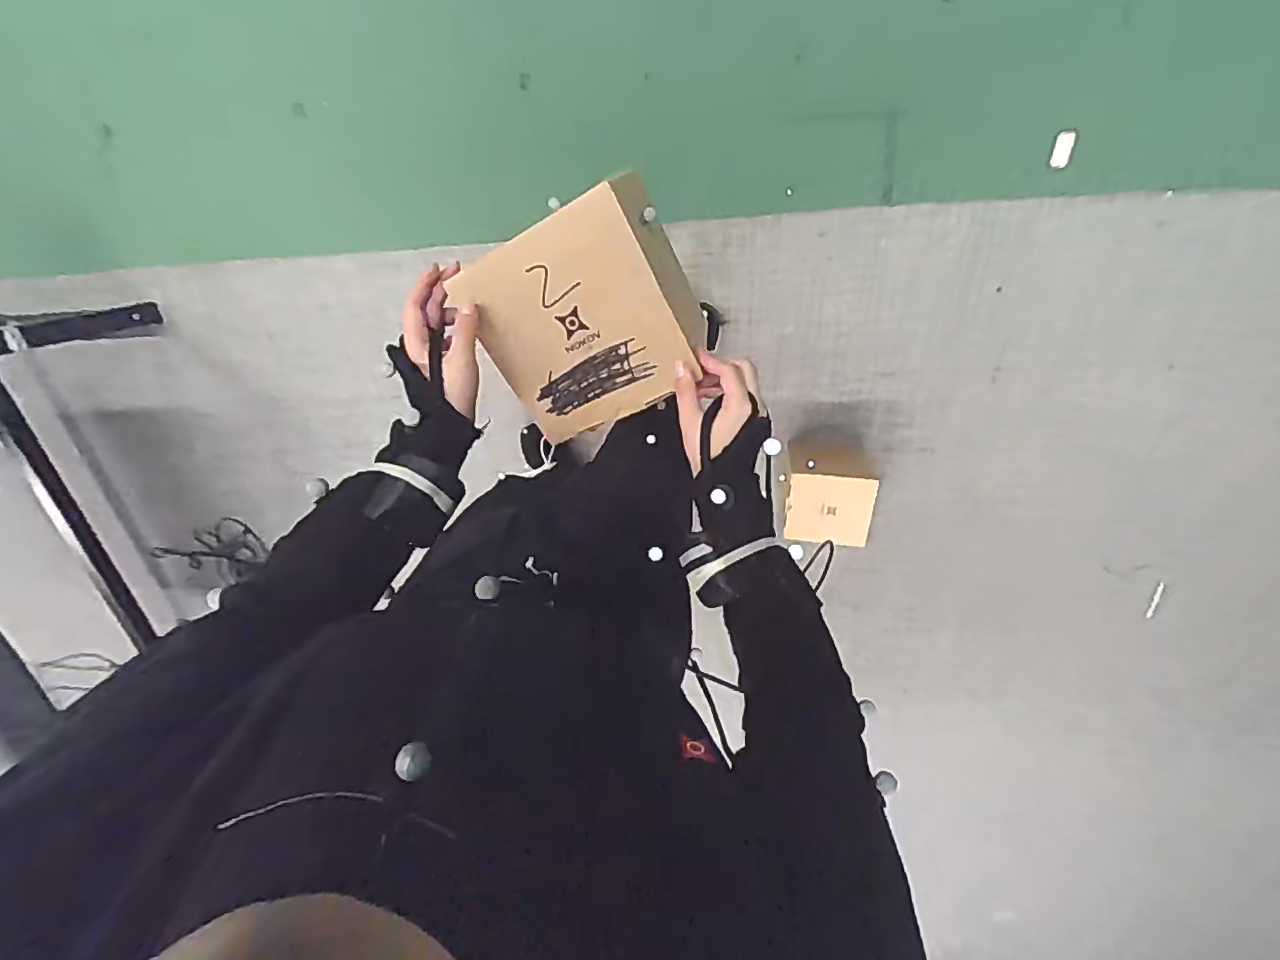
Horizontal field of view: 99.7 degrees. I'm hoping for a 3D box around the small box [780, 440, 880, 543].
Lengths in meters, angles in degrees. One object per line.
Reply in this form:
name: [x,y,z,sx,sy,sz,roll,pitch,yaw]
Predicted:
small box: [0.414,0.020,1.210,0.179,0.176,0.168,5,118,10]
